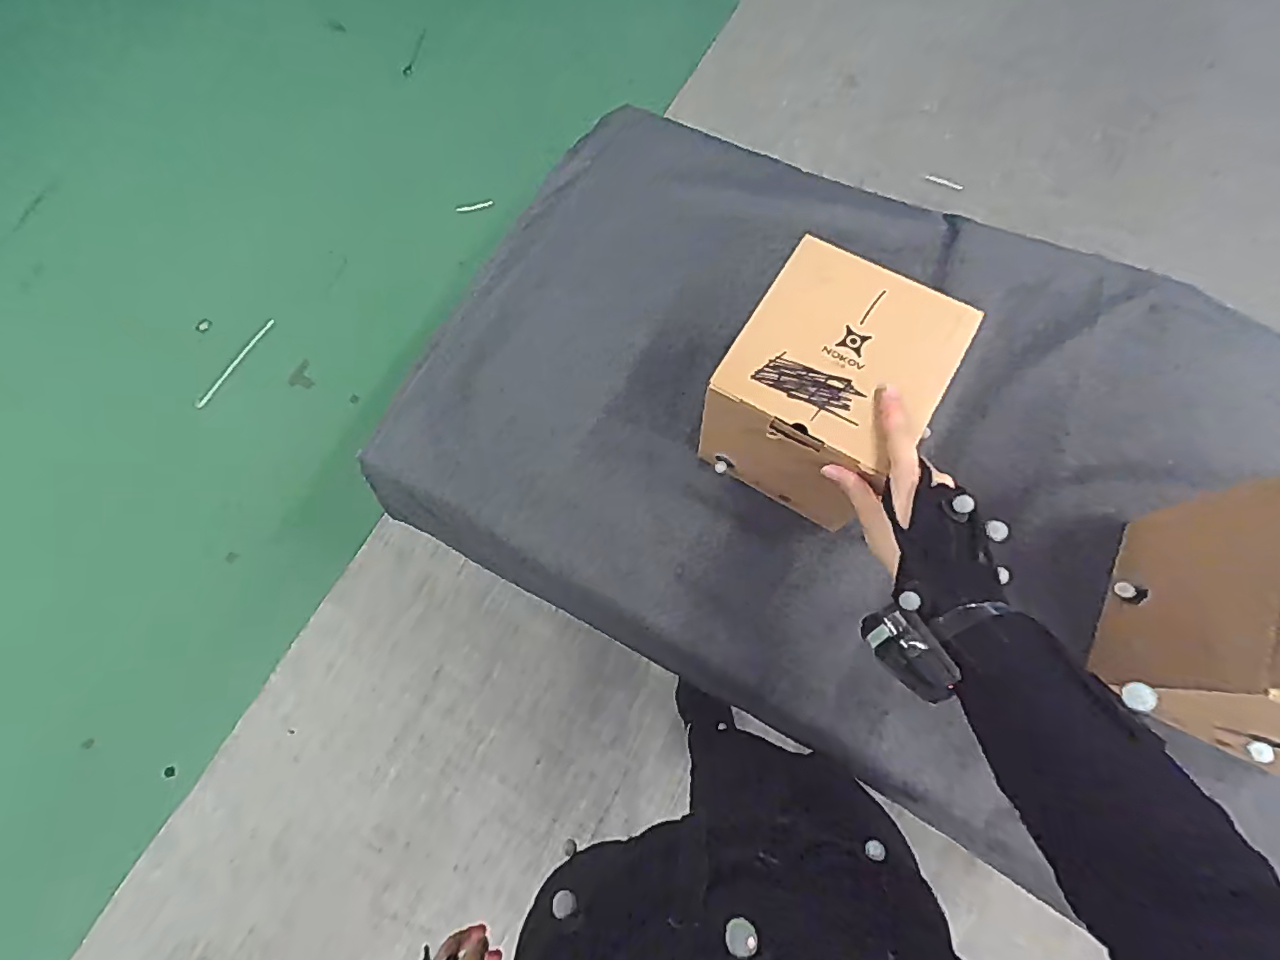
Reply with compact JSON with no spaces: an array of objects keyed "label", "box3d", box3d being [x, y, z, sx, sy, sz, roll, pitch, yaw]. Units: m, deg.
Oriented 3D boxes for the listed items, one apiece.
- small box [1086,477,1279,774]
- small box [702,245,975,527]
[{"label":"small box","box3d":[0.510,0.127,0.431,0.168,0.176,0.179,26,75,12]},{"label":"small box","box3d":[0.171,-0.077,0.522,0.168,0.176,0.179,31,75,12]}]
